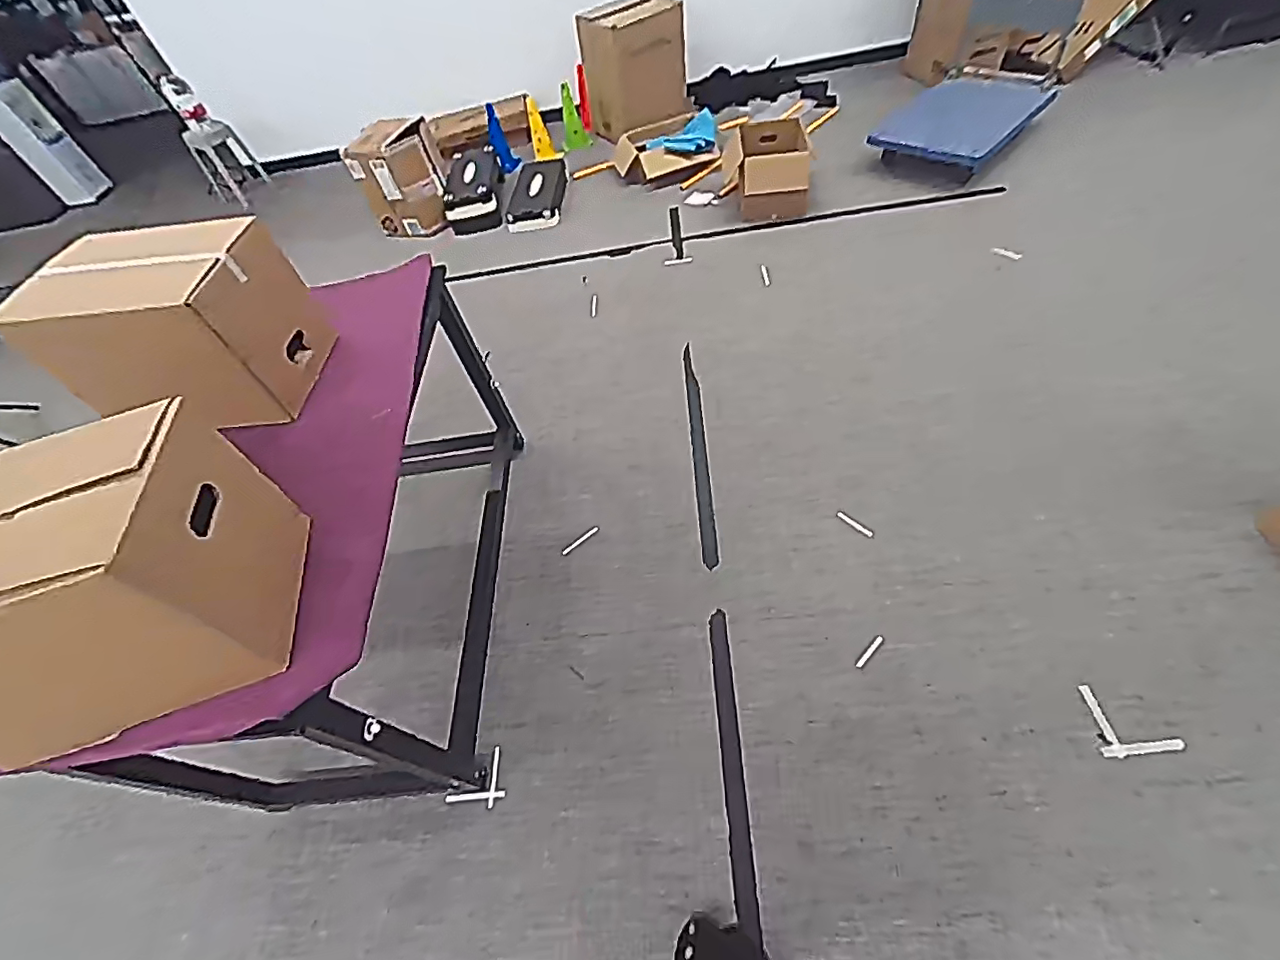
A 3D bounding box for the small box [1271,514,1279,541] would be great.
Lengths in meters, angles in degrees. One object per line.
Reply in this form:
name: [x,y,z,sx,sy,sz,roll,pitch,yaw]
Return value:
small box: [1.755,0.124,1.341,0.179,0.176,0.168,-9,52,3]
